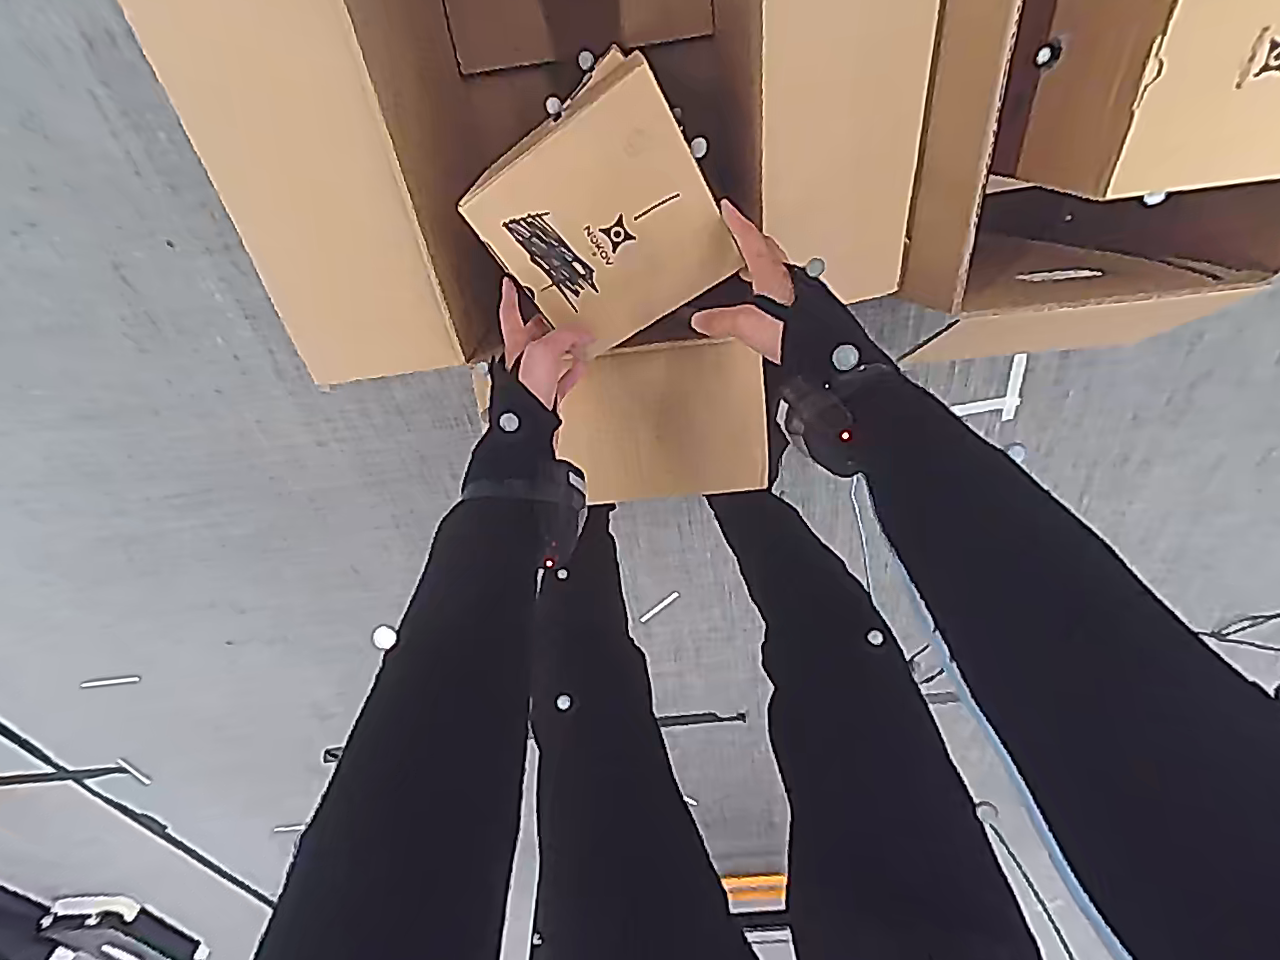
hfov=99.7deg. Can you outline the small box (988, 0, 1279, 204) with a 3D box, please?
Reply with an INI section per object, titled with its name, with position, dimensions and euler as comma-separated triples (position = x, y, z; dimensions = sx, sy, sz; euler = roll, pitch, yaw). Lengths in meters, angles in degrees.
[small box]
position = 0.436, -0.341, 0.443
dimensions = 0.179, 0.176, 0.168
euler = -6, 127, 2
